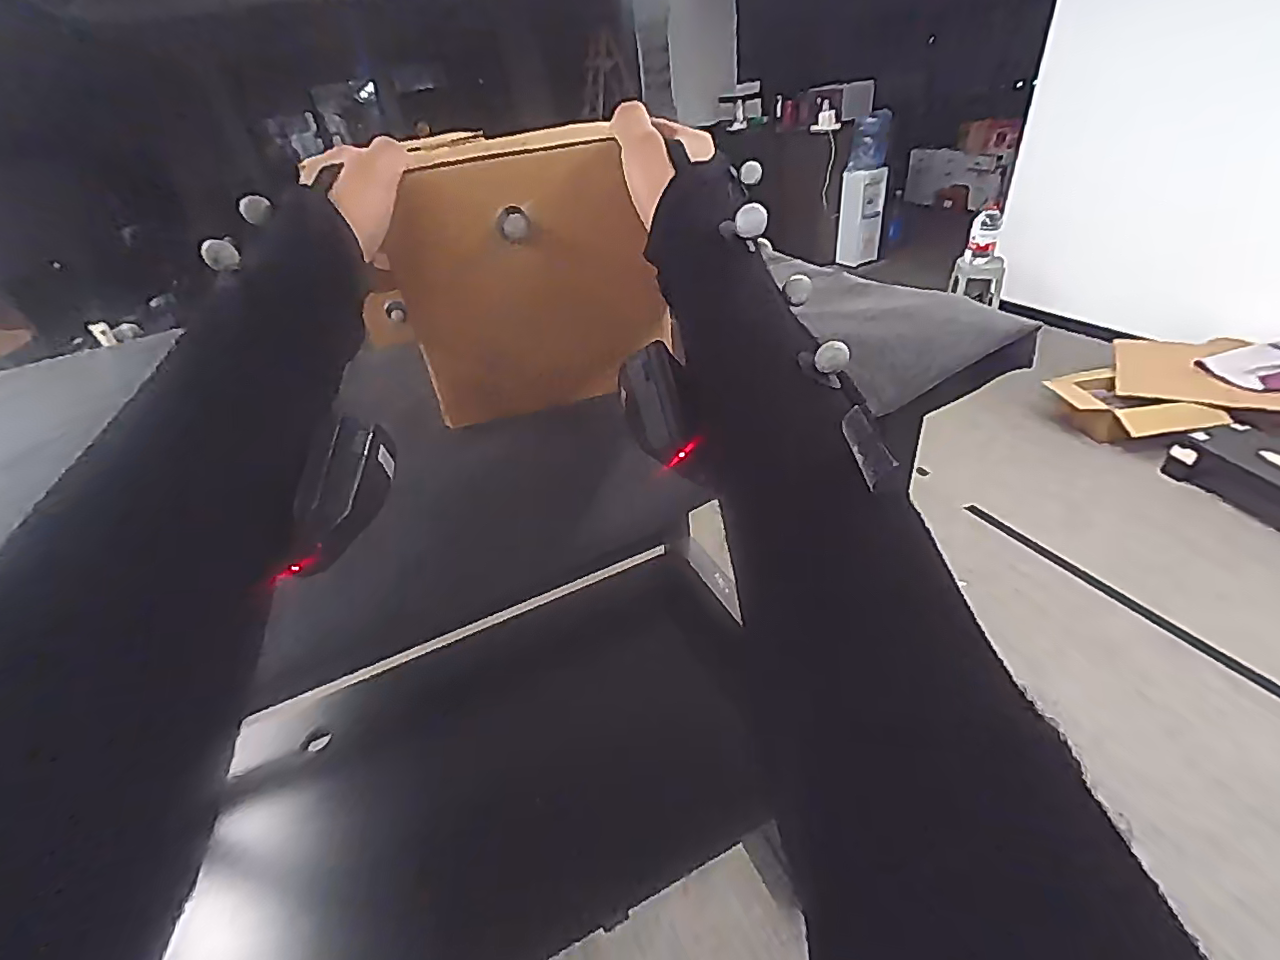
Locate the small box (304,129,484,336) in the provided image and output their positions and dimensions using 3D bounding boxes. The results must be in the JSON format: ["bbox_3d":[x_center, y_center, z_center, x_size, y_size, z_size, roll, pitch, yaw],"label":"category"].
[{"bbox_3d":[-0.236,-0.273,0.598,0.168,0.176,0.179,-19,36,-13],"label":"small box"}]

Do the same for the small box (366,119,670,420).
[{"bbox_3d":[-0.080,-0.169,0.424,0.179,0.176,0.168,-14,36,-7],"label":"small box"}]
